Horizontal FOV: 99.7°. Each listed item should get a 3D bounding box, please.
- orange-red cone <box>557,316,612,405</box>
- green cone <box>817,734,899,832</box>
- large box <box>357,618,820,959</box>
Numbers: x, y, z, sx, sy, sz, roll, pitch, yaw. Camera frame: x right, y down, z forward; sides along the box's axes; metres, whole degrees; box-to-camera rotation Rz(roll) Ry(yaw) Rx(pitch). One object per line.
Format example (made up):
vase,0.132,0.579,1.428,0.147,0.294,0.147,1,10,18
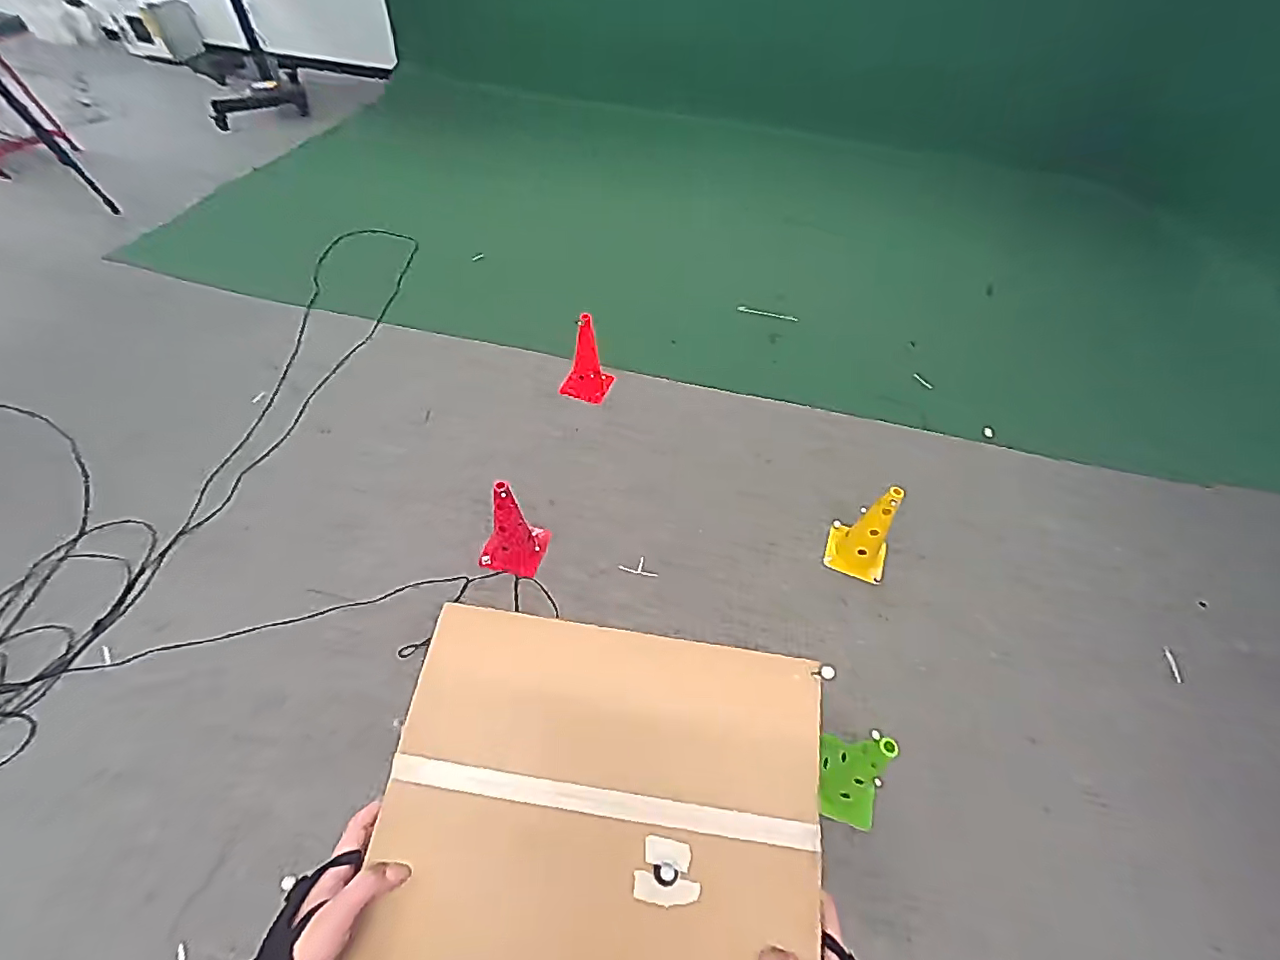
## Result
orange-red cone,-0.236,-0.520,2.257,0.199,0.360,0.198,17,51,11
green cone,0.547,0.706,1.335,0.200,0.368,0.202,17,51,9
large box,-0.034,0.373,0.648,0.408,0.320,0.320,8,65,2
